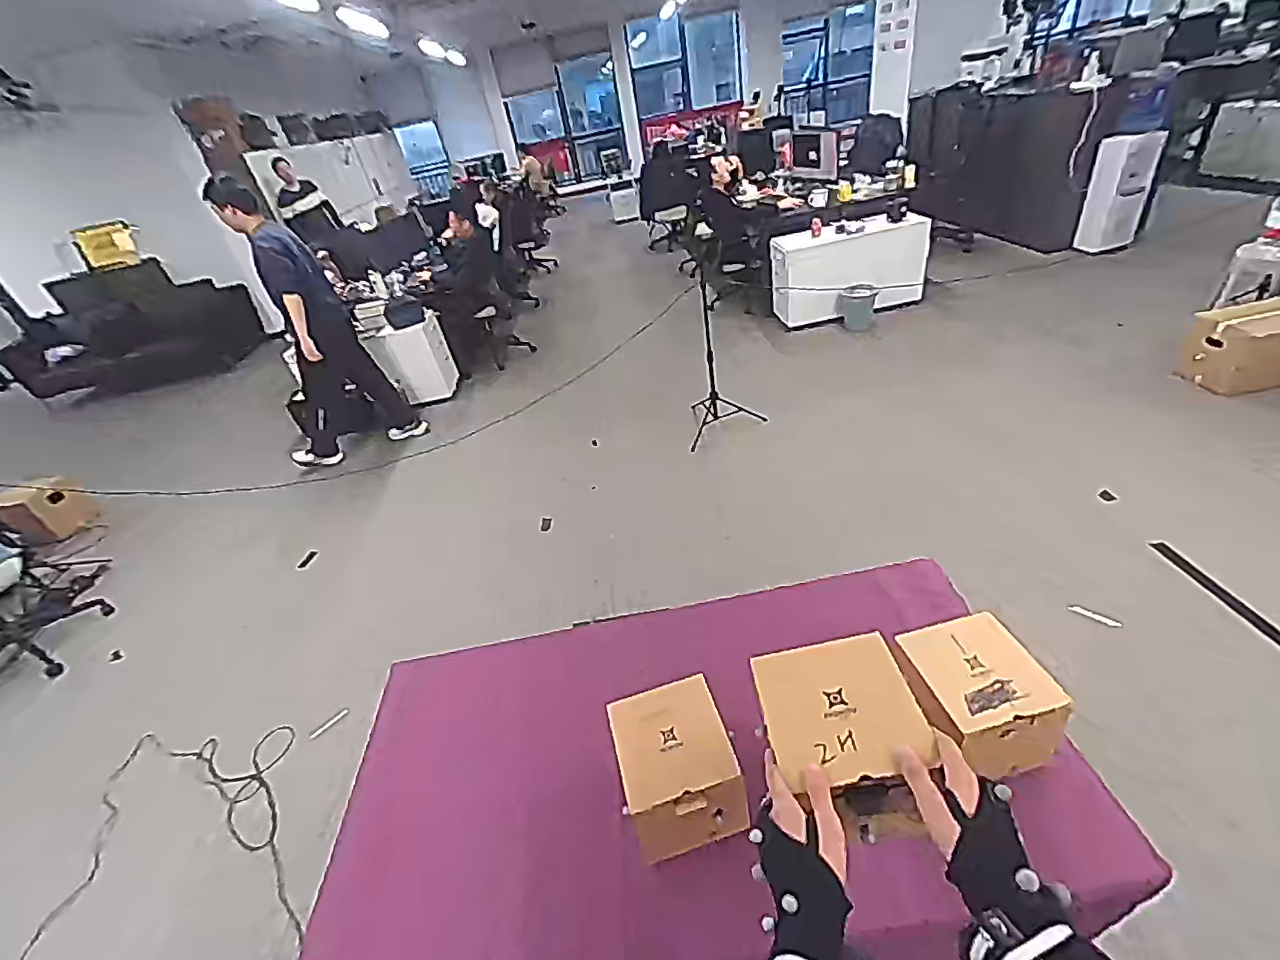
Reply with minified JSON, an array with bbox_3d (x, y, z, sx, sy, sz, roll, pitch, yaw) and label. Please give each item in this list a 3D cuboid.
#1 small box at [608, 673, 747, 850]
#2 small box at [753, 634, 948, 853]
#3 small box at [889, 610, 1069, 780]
[{"bbox_3d":[0.060,0.447,0.851,0.168,0.176,0.179,-16,35,-6],"label":"small box"},{"bbox_3d":[0.245,0.321,0.662,0.168,0.176,0.179,-14,39,7],"label":"small box"},{"bbox_3d":[0.514,0.342,0.851,0.168,0.176,0.179,-15,34,-2],"label":"small box"}]
